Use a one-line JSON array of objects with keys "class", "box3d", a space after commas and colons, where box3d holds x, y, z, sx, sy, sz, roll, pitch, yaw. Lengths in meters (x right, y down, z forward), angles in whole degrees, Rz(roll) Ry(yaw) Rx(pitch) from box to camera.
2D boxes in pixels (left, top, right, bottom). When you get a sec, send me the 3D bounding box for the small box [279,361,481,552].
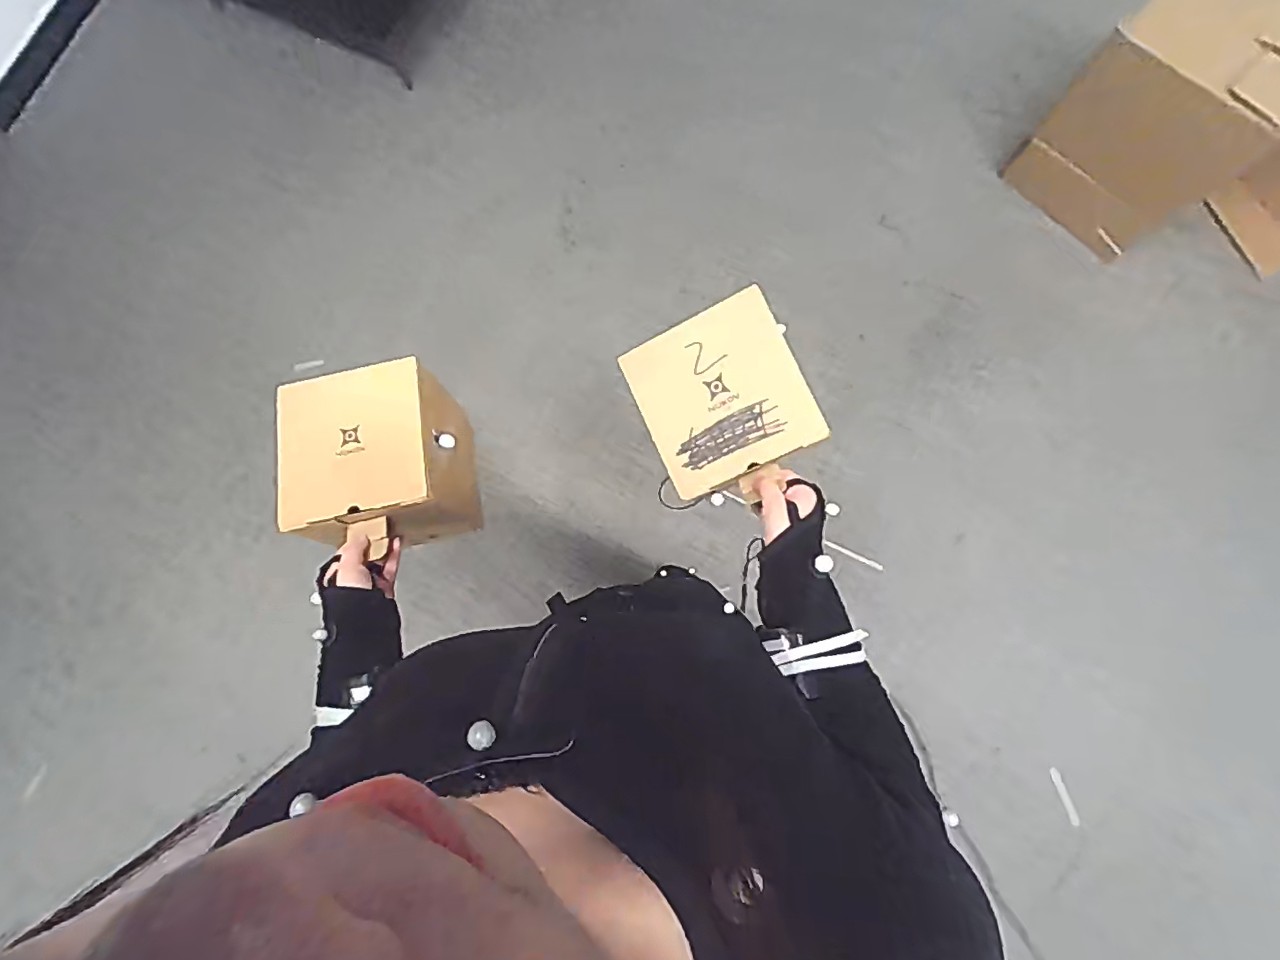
[{"class": "small box", "box3d": [-0.309, -0.020, 0.671, 0.168, 0.176, 0.179, -10, 74, 0]}]
